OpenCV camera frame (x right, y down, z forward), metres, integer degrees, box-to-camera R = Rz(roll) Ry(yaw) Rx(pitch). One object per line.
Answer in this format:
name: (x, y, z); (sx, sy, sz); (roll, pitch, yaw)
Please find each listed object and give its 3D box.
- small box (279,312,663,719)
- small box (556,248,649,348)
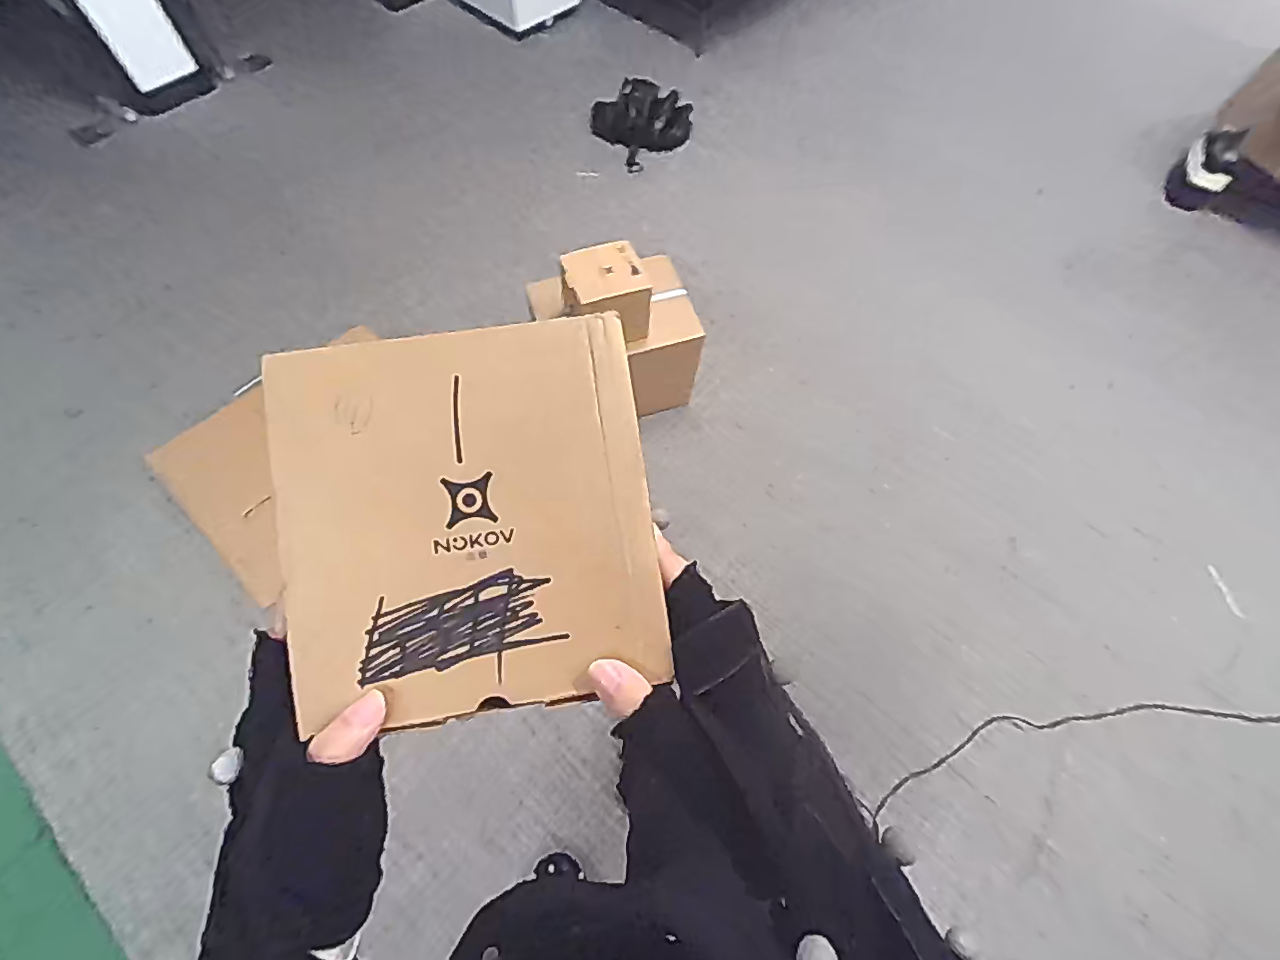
small box: (-0.083, 0.020, 0.334); (0.168, 0.176, 0.179); (-8, 84, -4)
small box: (-0.090, -0.428, 1.325); (0.179, 0.176, 0.168); (-21, 65, -14)
